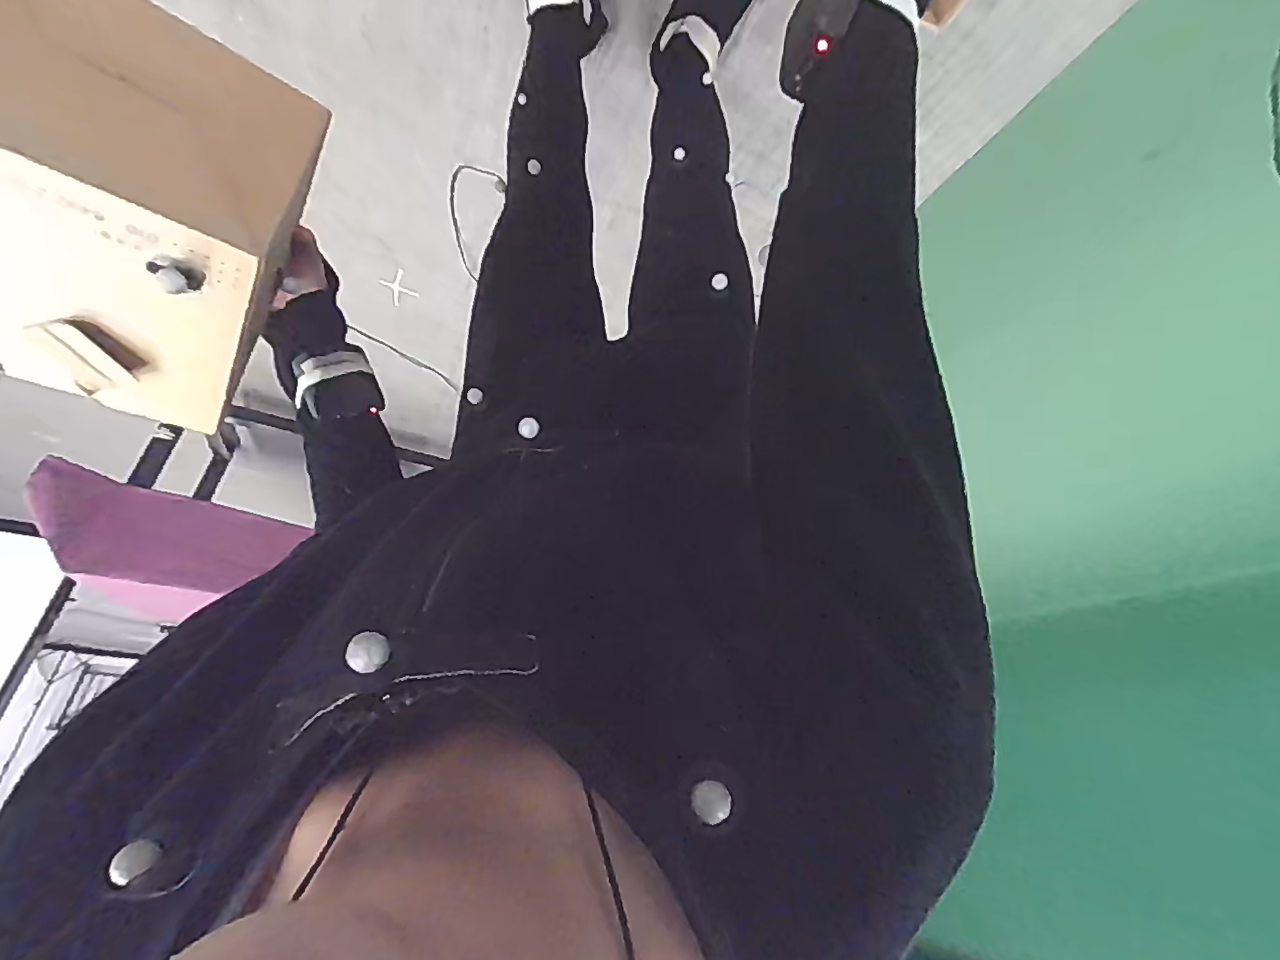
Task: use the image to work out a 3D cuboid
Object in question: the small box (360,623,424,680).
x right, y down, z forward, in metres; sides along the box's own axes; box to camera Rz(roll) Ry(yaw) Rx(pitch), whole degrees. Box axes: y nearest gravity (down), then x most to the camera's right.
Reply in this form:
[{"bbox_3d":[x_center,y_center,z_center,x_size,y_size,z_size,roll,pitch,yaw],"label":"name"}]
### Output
[{"bbox_3d":[-0.921,0.636,2.009,0.179,0.176,0.168,15,151,-19],"label":"small box"}]
